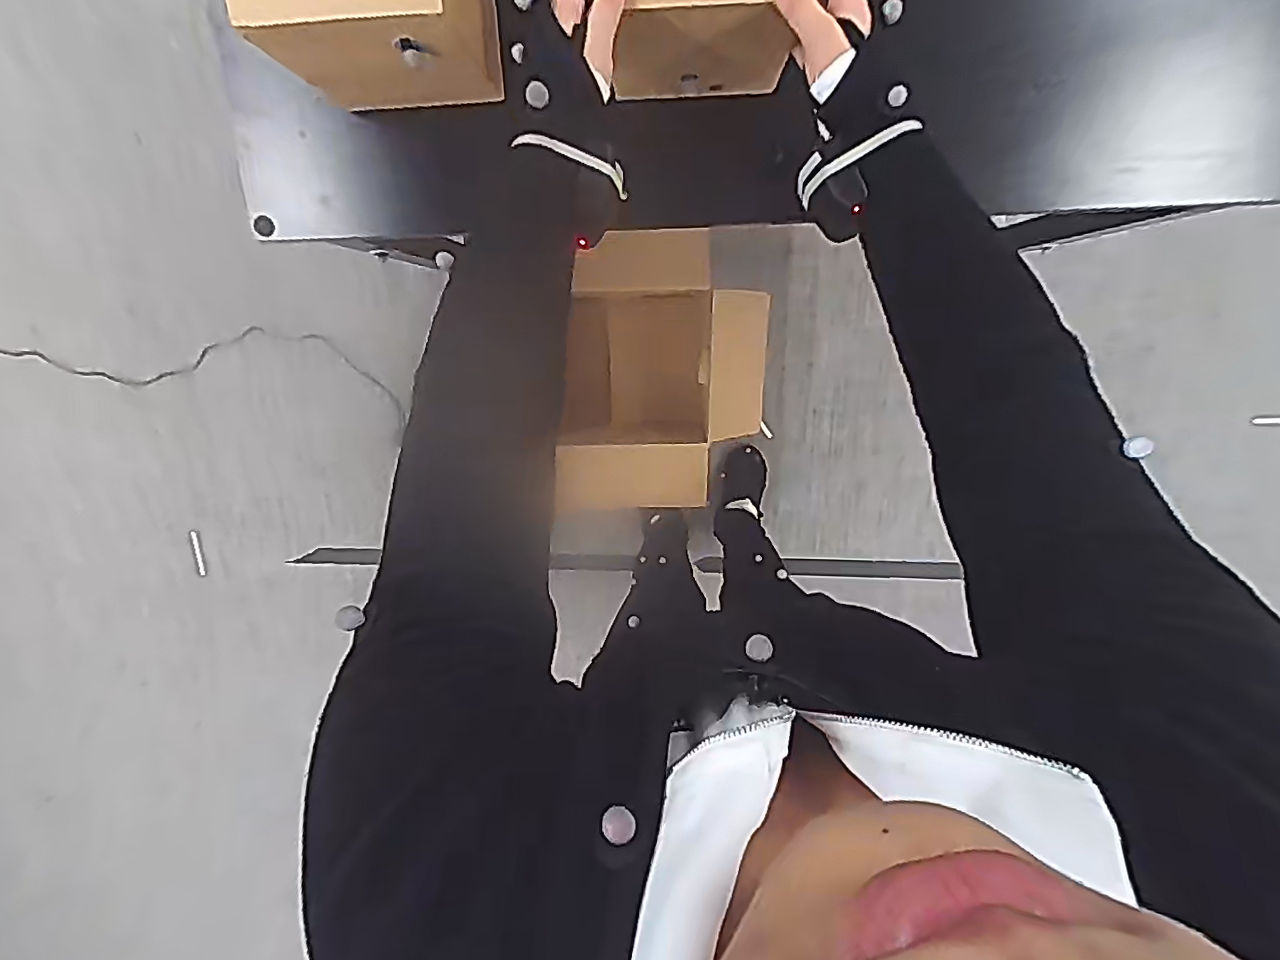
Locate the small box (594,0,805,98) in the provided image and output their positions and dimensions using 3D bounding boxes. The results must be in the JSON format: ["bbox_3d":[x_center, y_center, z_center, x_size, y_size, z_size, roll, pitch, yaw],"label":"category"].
[{"bbox_3d":[0.047,-0.465,0.467,0.168,0.176,0.179,0,106,3],"label":"small box"}]

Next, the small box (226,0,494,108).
[{"bbox_3d":[-0.238,-0.459,0.481,0.179,0.176,0.168,-2,105,3],"label":"small box"}]
